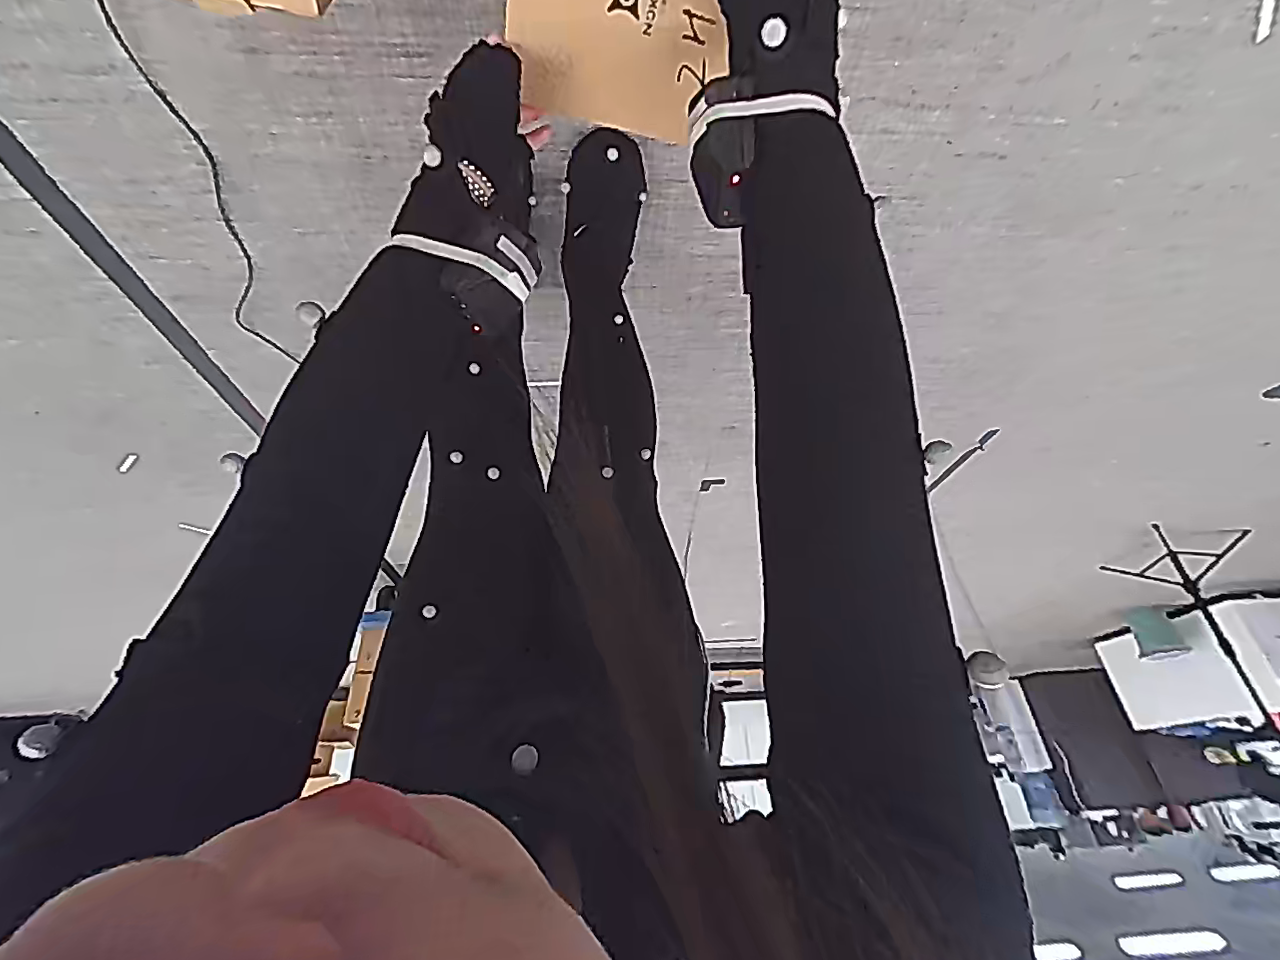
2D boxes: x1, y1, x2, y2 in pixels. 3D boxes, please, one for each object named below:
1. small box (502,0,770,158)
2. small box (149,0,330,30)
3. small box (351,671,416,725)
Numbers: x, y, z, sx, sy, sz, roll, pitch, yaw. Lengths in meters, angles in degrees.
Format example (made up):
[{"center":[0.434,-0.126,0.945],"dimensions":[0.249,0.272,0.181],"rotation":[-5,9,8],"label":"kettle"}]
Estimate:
[{"center":[-0.006,-0.391,0.413],"dimensions":[0.179,0.176,0.168],"rotation":[4,148,-15],"label":"small box"},{"center":[-0.358,-0.533,0.456],"dimensions":[0.168,0.176,0.179],"rotation":[1,149,-10],"label":"small box"},{"center":[-0.936,0.802,1.991],"dimensions":[0.179,0.176,0.168],"rotation":[2,150,-8],"label":"small box"}]
